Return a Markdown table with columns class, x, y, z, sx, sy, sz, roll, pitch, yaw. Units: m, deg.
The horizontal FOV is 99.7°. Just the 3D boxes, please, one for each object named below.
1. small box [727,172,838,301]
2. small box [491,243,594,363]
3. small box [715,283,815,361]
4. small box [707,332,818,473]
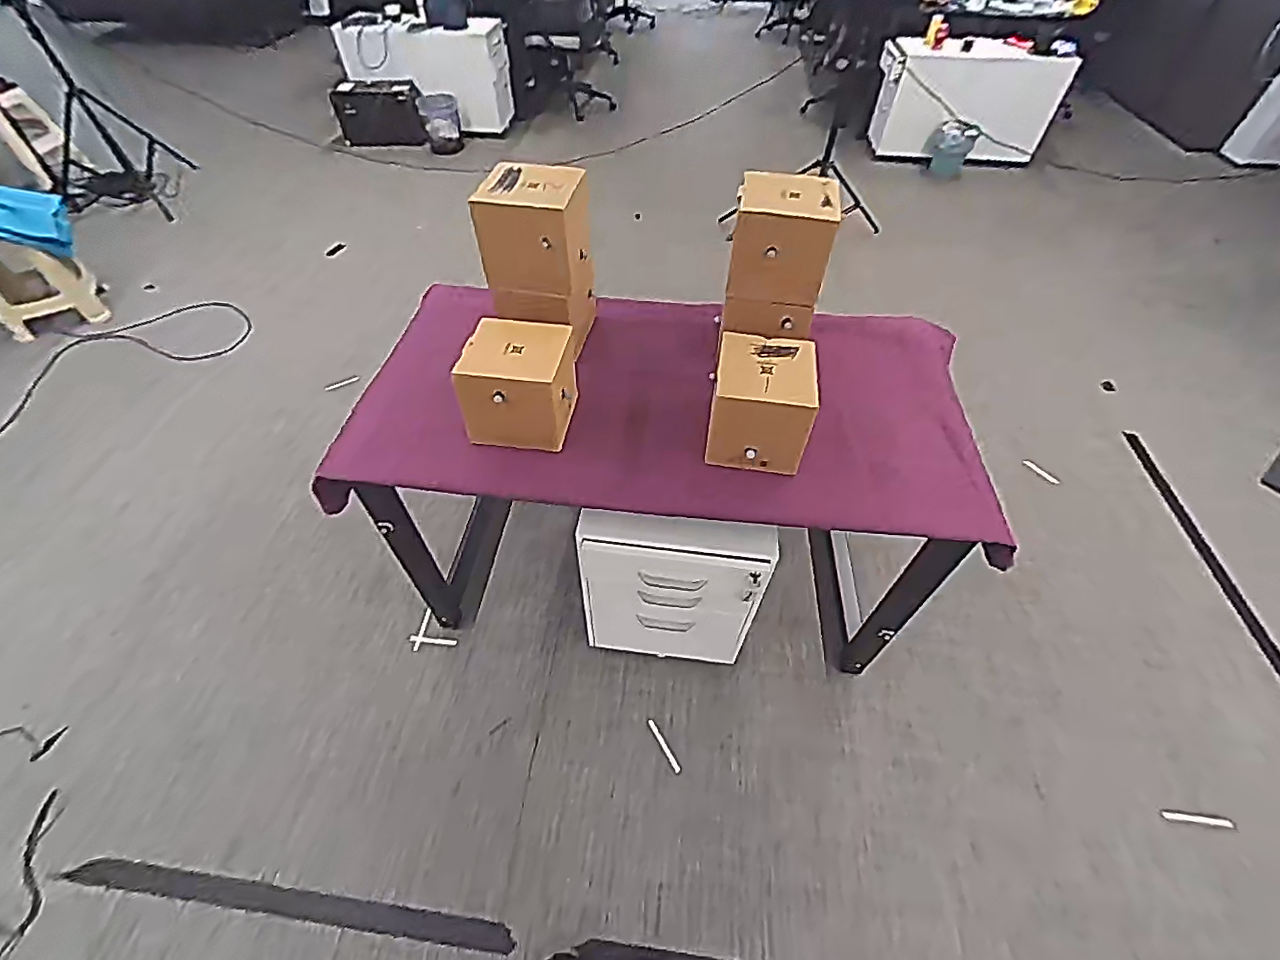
| class | x | y | z | sx | sy | sz | roll | pitch | yaw |
| --- | --- | --- | --- | --- | --- | --- | --- | --- | --- |
| small box | 0.264 | -0.460 | 1.027 | 0.179 | 0.176 | 0.168 | 8 | 53 | 7 |
| small box | -0.200 | -0.382 | 1.171 | 0.168 | 0.176 | 0.179 | 9 | 54 | 8 |
| small box | 0.264 | -0.356 | 1.153 | 0.179 | 0.176 | 0.168 | 8 | 52 | 6 |
| small box | 0.215 | -0.139 | 0.976 | 0.168 | 0.176 | 0.179 | 7 | 50 | 6 |
